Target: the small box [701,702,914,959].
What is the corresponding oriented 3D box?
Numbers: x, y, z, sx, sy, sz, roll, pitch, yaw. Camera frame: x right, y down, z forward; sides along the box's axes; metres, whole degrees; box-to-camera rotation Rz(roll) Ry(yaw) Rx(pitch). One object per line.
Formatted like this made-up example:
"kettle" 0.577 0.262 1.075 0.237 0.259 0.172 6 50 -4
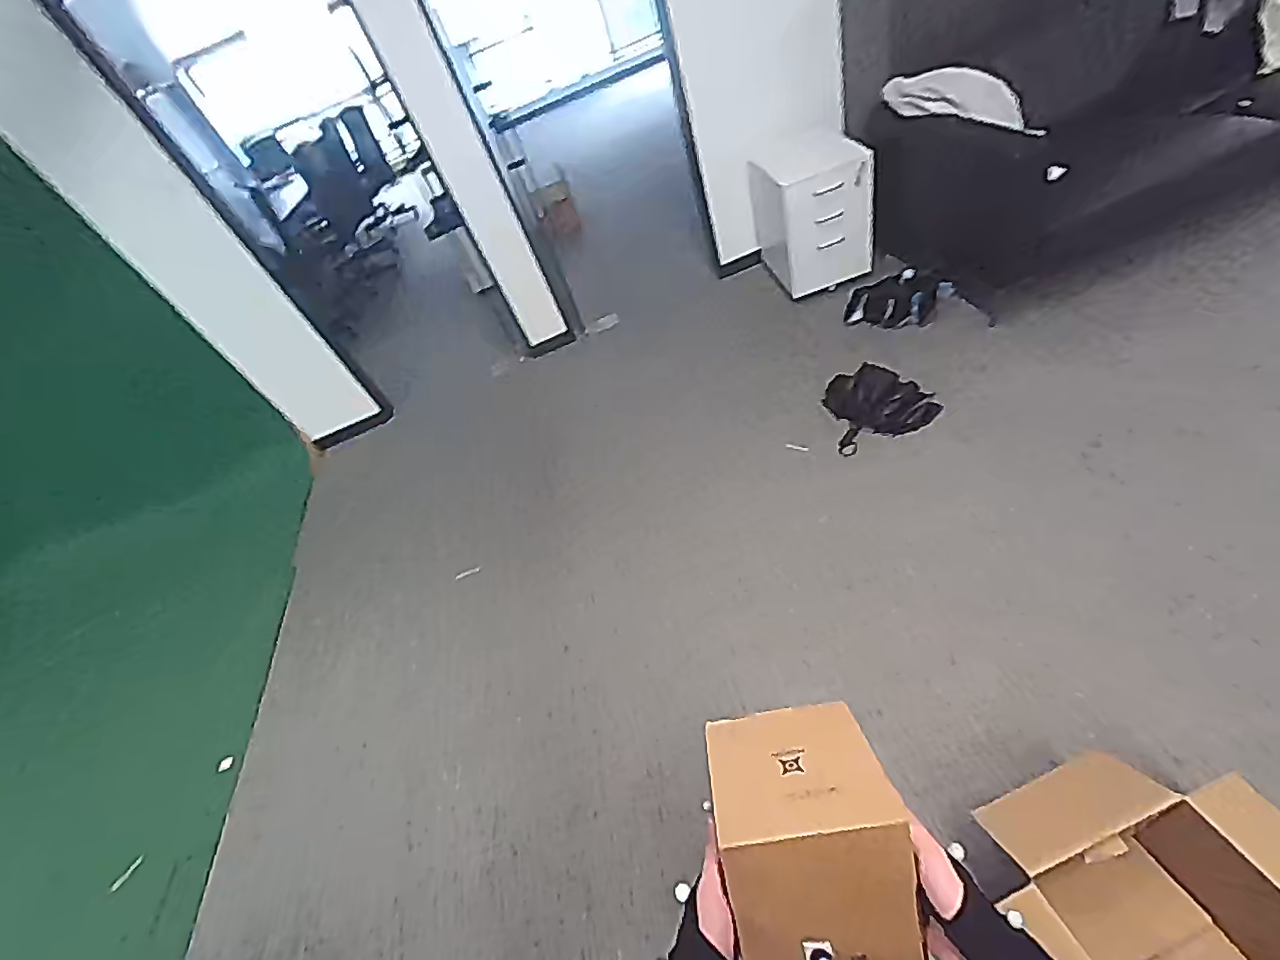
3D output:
"small box" 0.160 0.365 0.560 0.168 0.176 0.179 -11 11 5
